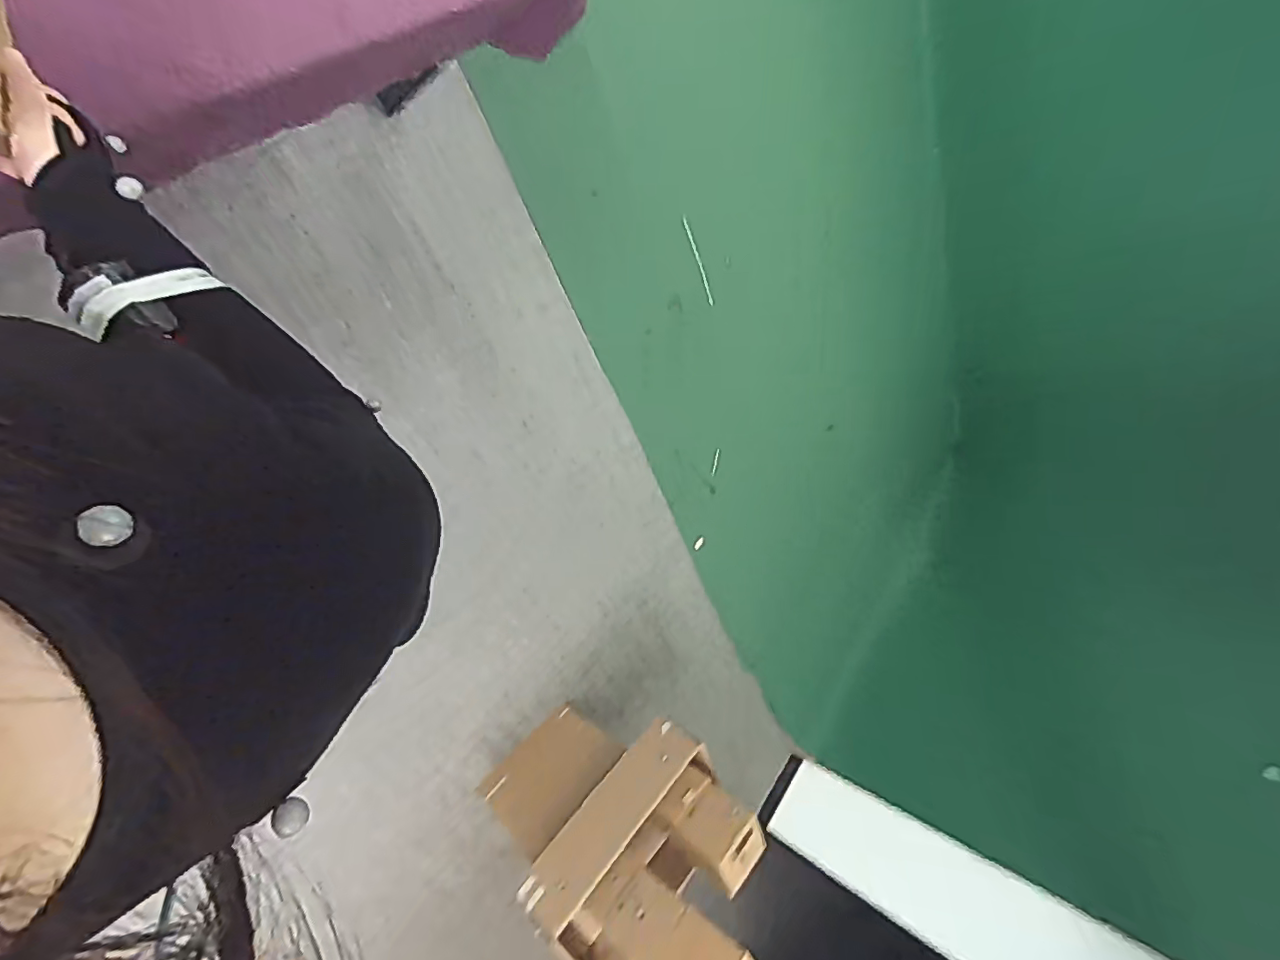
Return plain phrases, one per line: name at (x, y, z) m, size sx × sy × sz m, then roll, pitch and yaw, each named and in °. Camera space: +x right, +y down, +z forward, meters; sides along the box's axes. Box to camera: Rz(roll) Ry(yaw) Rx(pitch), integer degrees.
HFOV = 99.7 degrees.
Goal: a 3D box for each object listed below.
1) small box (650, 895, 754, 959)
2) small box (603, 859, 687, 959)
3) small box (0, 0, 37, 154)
small box at (0.148, 1.160, 1.299) m, size 0.179 × 0.176 × 0.168 m, roll -43°, pitch 125°, yaw -30°
small box at (0.031, 1.142, 1.413) m, size 0.168 × 0.176 × 0.179 m, roll -44°, pitch 125°, yaw -30°
small box at (-0.469, -0.297, 0.286) m, size 0.168 × 0.176 × 0.179 m, roll -7°, pitch 111°, yaw -38°
